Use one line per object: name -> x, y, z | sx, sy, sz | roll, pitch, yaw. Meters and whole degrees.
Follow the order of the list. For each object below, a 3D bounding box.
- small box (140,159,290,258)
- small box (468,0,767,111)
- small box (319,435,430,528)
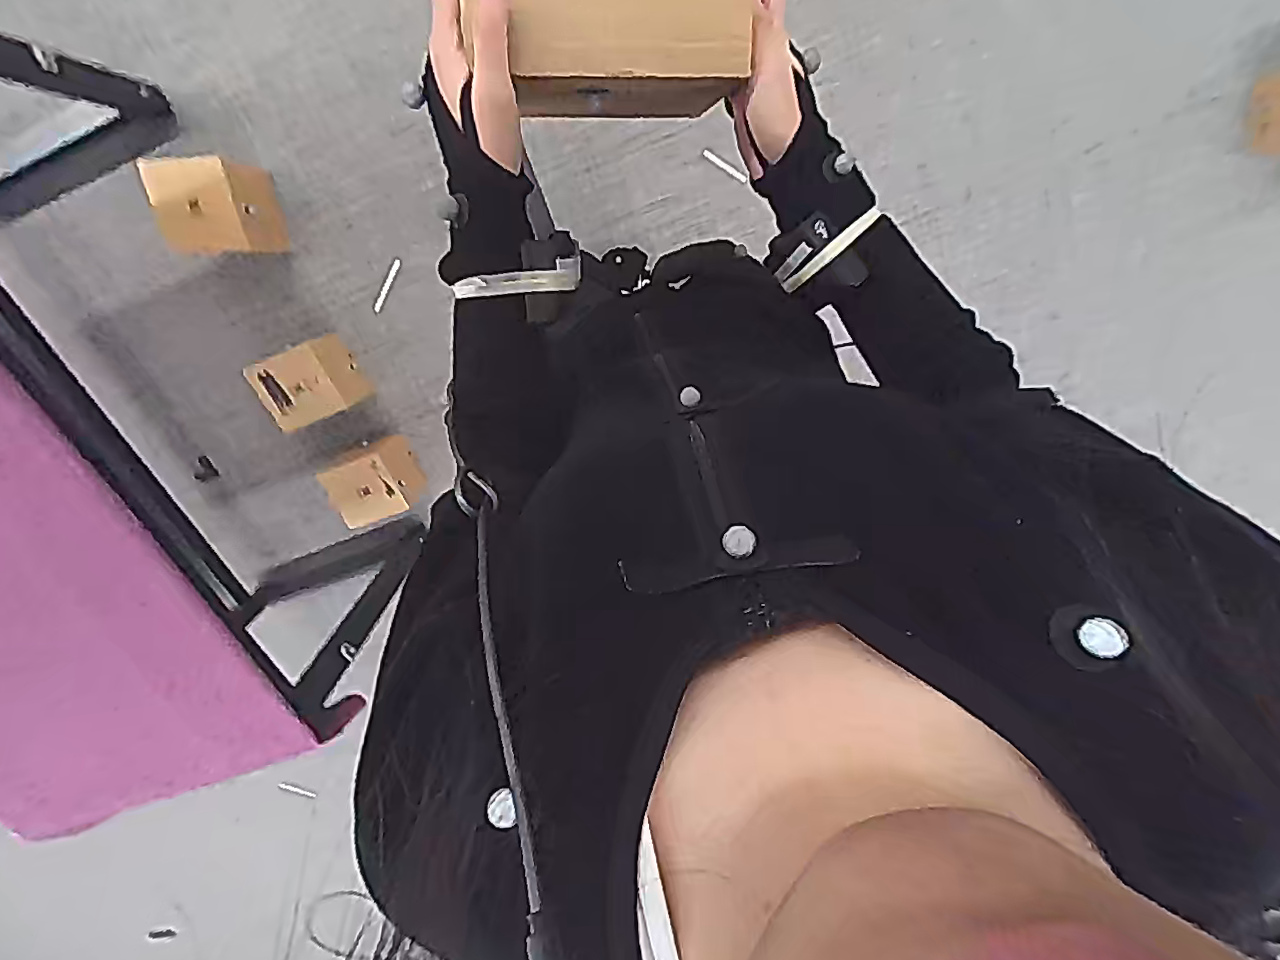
small box -> -0.910, -0.583, 1.177 | 0.168, 0.176, 0.179 | -5, 115, -1
small box -> -0.018, -0.359, 0.362 | 0.179, 0.176, 0.168 | -2, 117, -6
small box -> -0.693, 0.001, 1.434 | 0.179, 0.176, 0.168 | -18, 113, 7
